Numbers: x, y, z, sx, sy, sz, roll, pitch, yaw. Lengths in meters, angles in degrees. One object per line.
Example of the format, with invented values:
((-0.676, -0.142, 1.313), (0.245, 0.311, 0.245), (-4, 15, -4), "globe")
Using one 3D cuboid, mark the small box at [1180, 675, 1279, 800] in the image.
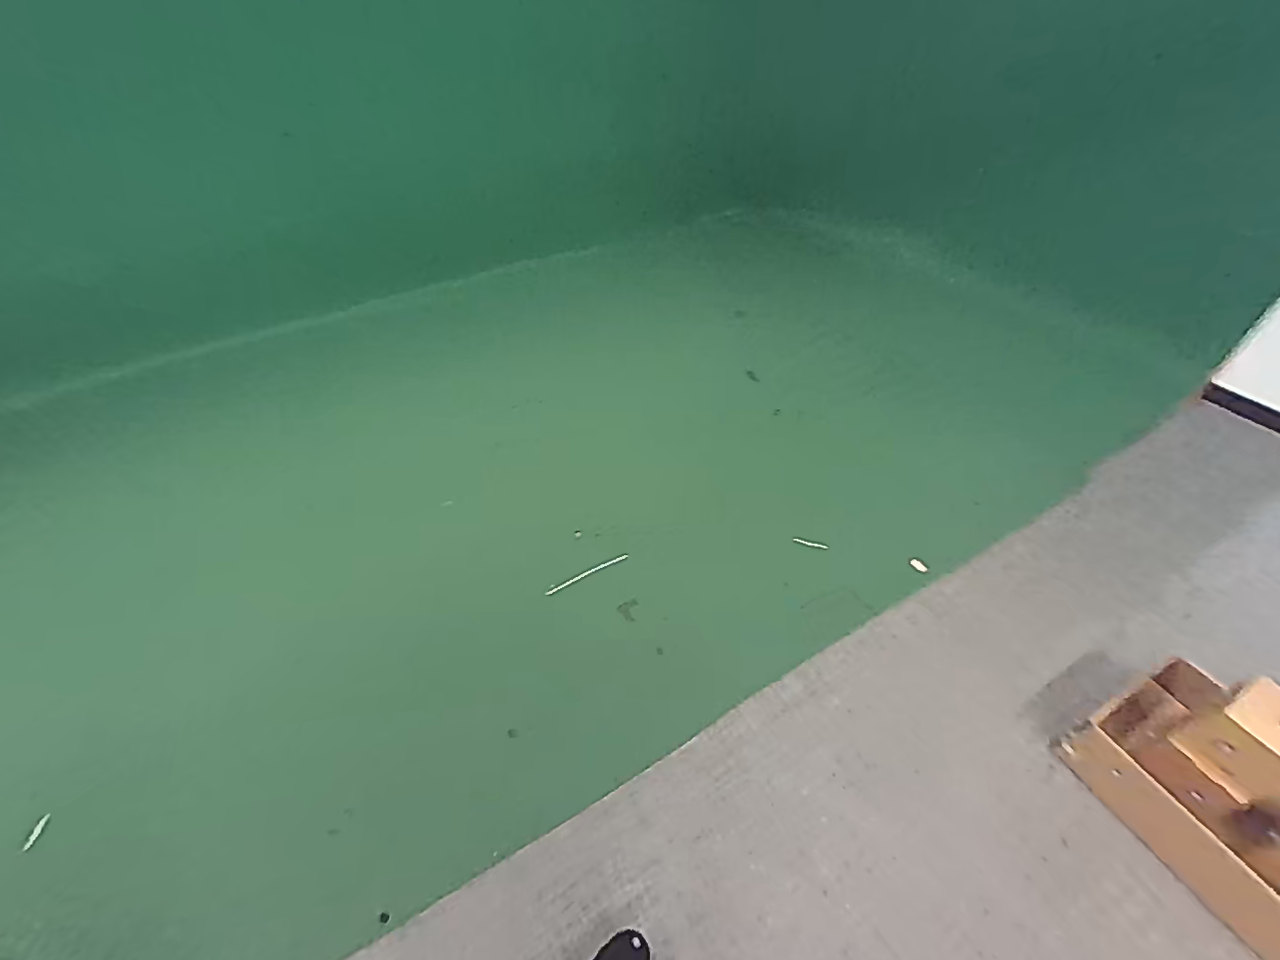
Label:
((1.390, 0.583, 1.218), (0.179, 0.176, 0.168), (-25, 52, -20), "small box")
